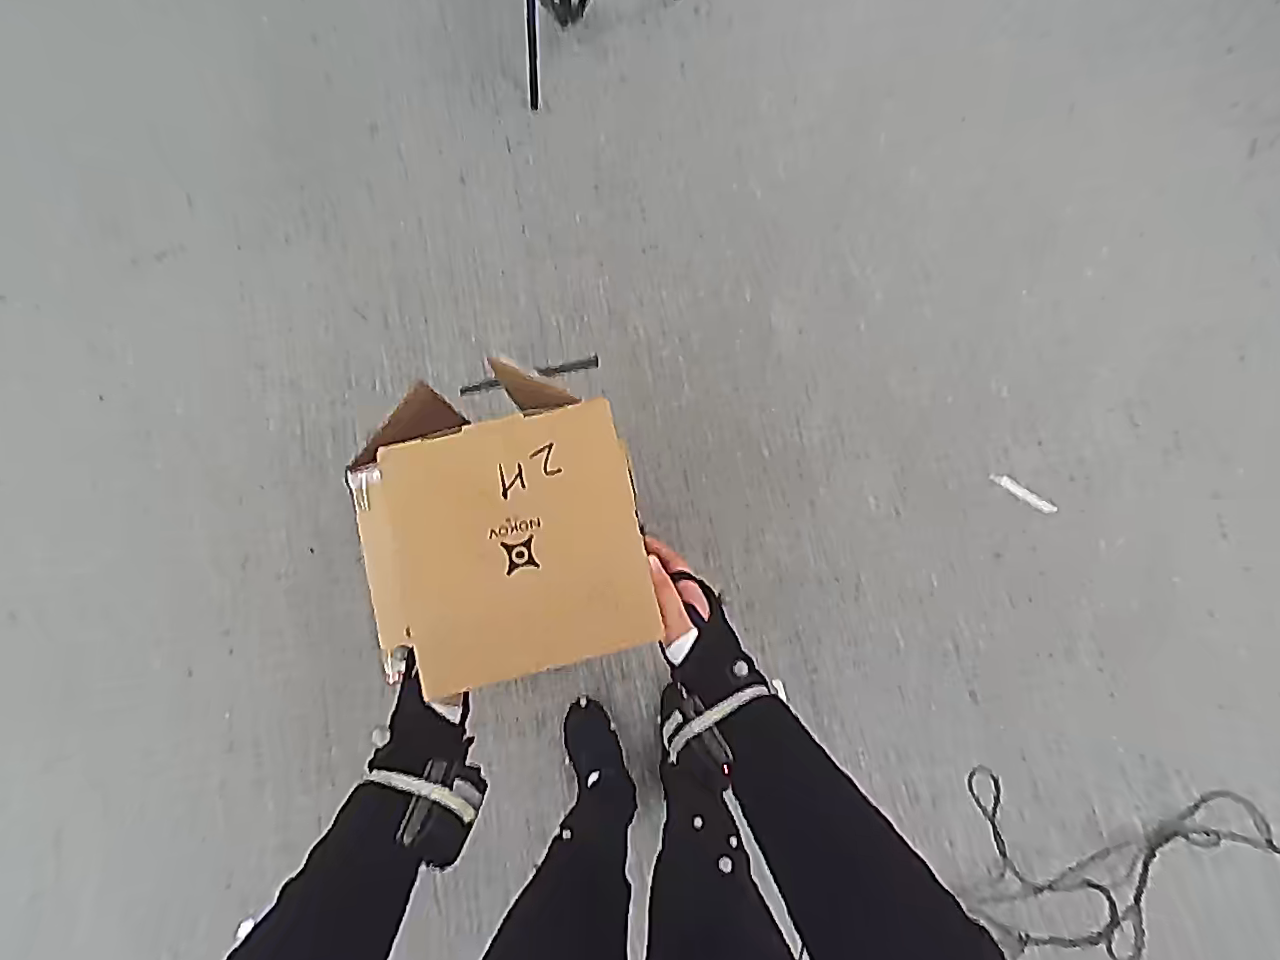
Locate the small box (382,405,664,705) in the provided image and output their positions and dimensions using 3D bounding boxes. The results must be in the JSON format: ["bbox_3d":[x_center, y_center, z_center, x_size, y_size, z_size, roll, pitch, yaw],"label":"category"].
[{"bbox_3d":[-0.083,0.057,0.445,0.168,0.176,0.179,-13,83,-5],"label":"small box"}]
